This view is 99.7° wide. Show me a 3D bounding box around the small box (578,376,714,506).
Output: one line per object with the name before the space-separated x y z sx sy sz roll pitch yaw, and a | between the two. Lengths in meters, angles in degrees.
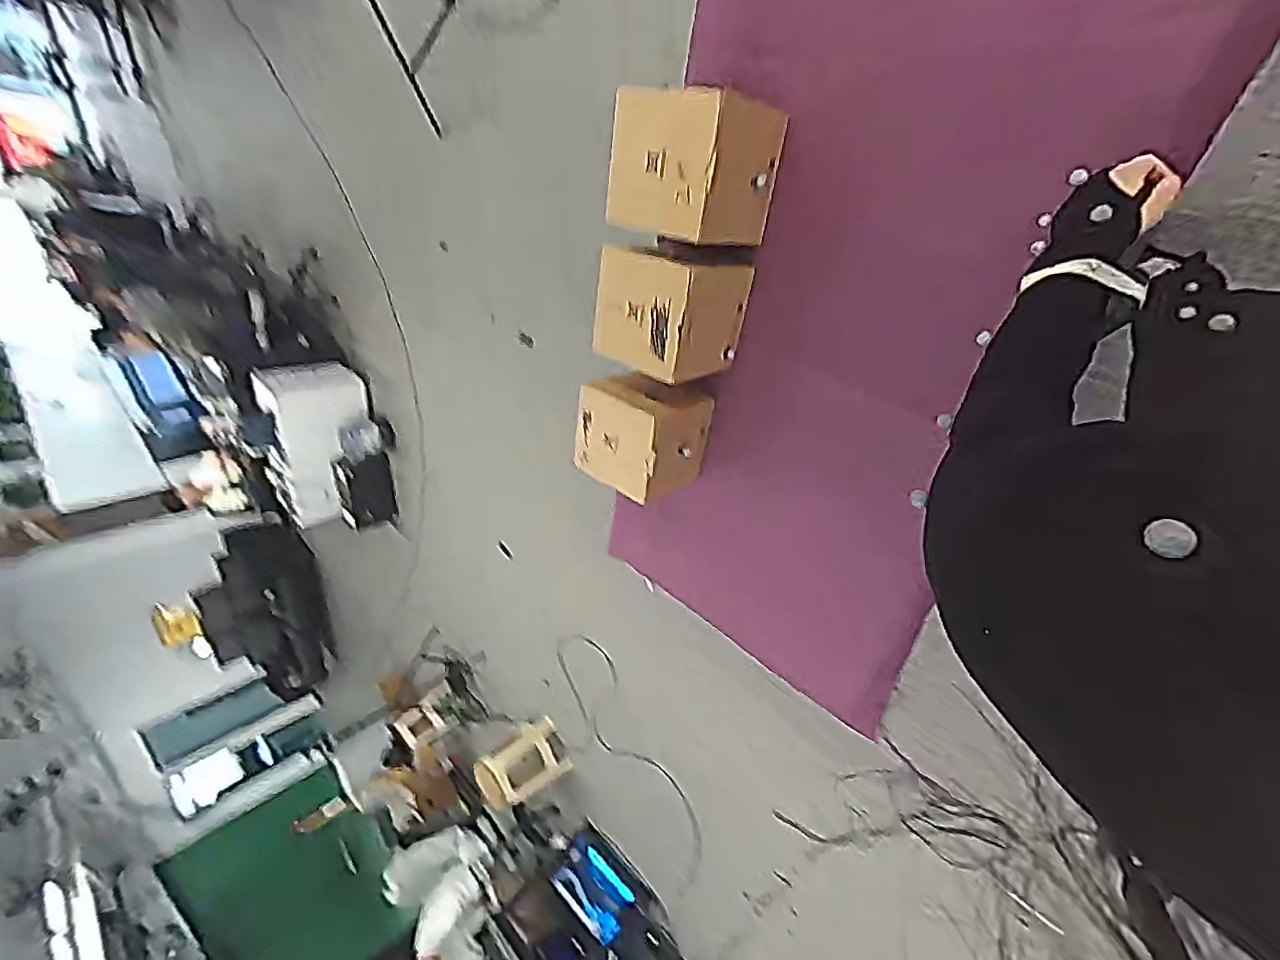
small box | 0.012 -0.082 0.988 0.179 0.176 0.168 28 124 31
